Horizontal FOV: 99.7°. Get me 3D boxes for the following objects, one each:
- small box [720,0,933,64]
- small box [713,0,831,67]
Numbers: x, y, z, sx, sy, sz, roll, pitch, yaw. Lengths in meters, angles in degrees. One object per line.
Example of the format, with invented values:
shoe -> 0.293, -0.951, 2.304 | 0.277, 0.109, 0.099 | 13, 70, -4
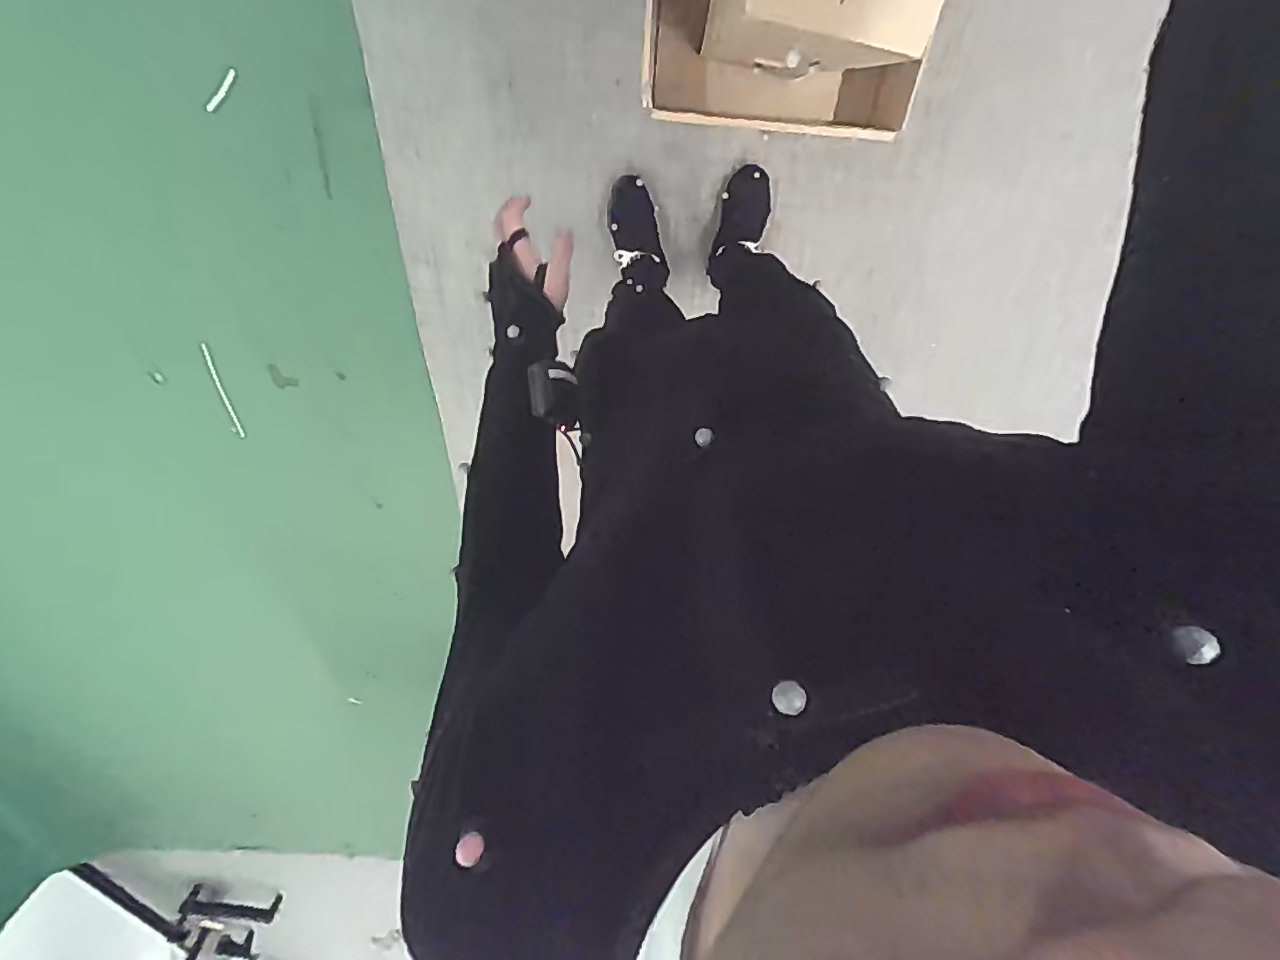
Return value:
small box -> 0.177, -0.504, 0.489 | 0.168, 0.176, 0.179 | 8, 125, -6
small box -> 0.187, -0.600, 0.622 | 0.168, 0.176, 0.179 | 8, 124, -6
